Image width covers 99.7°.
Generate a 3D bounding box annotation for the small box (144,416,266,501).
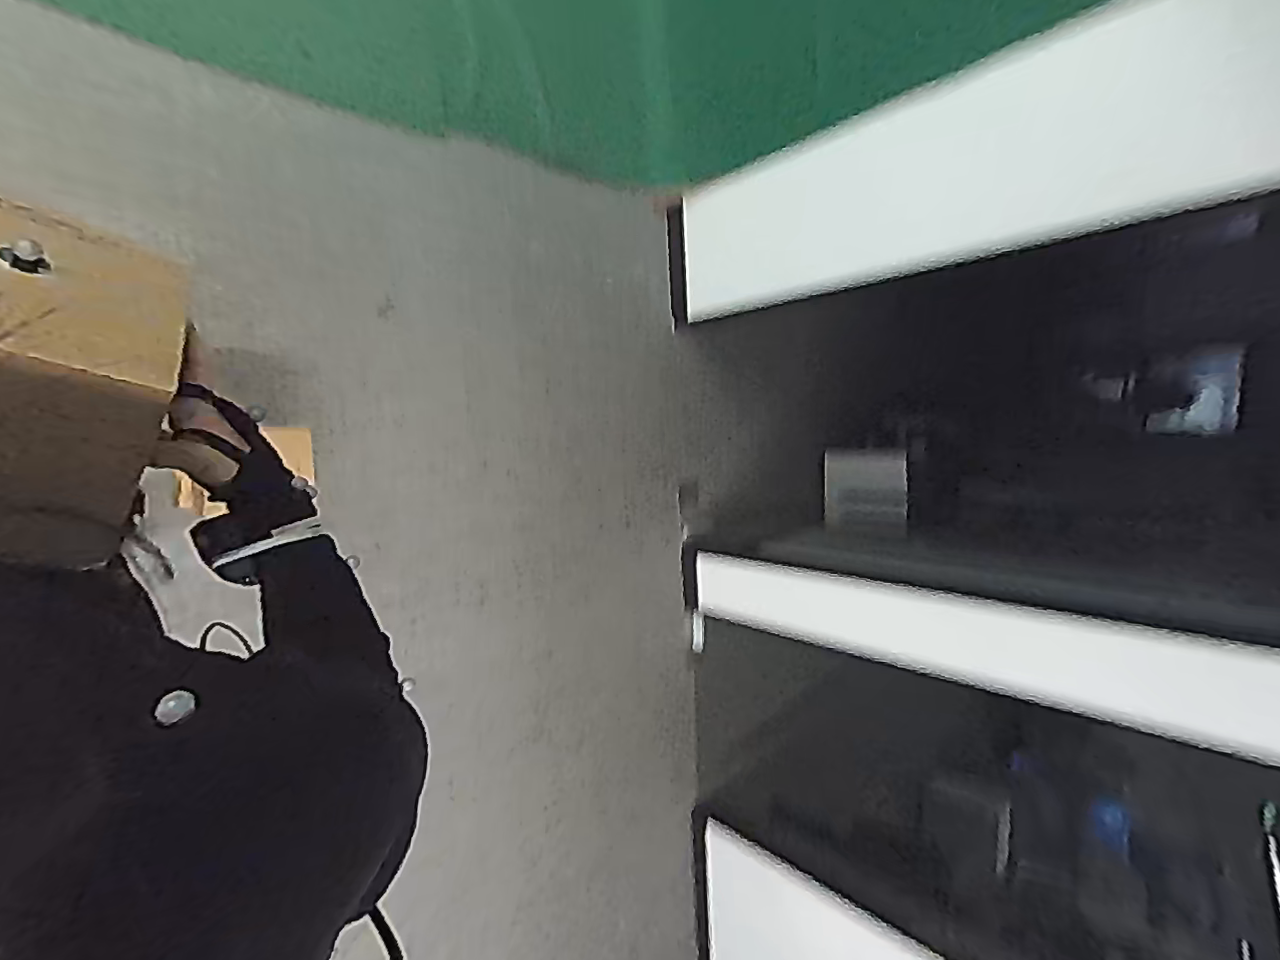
[{"bbox_3d":[-0.914,-0.043,1.136,0.179,0.176,0.168,2,91,-46],"label":"small box"}]
